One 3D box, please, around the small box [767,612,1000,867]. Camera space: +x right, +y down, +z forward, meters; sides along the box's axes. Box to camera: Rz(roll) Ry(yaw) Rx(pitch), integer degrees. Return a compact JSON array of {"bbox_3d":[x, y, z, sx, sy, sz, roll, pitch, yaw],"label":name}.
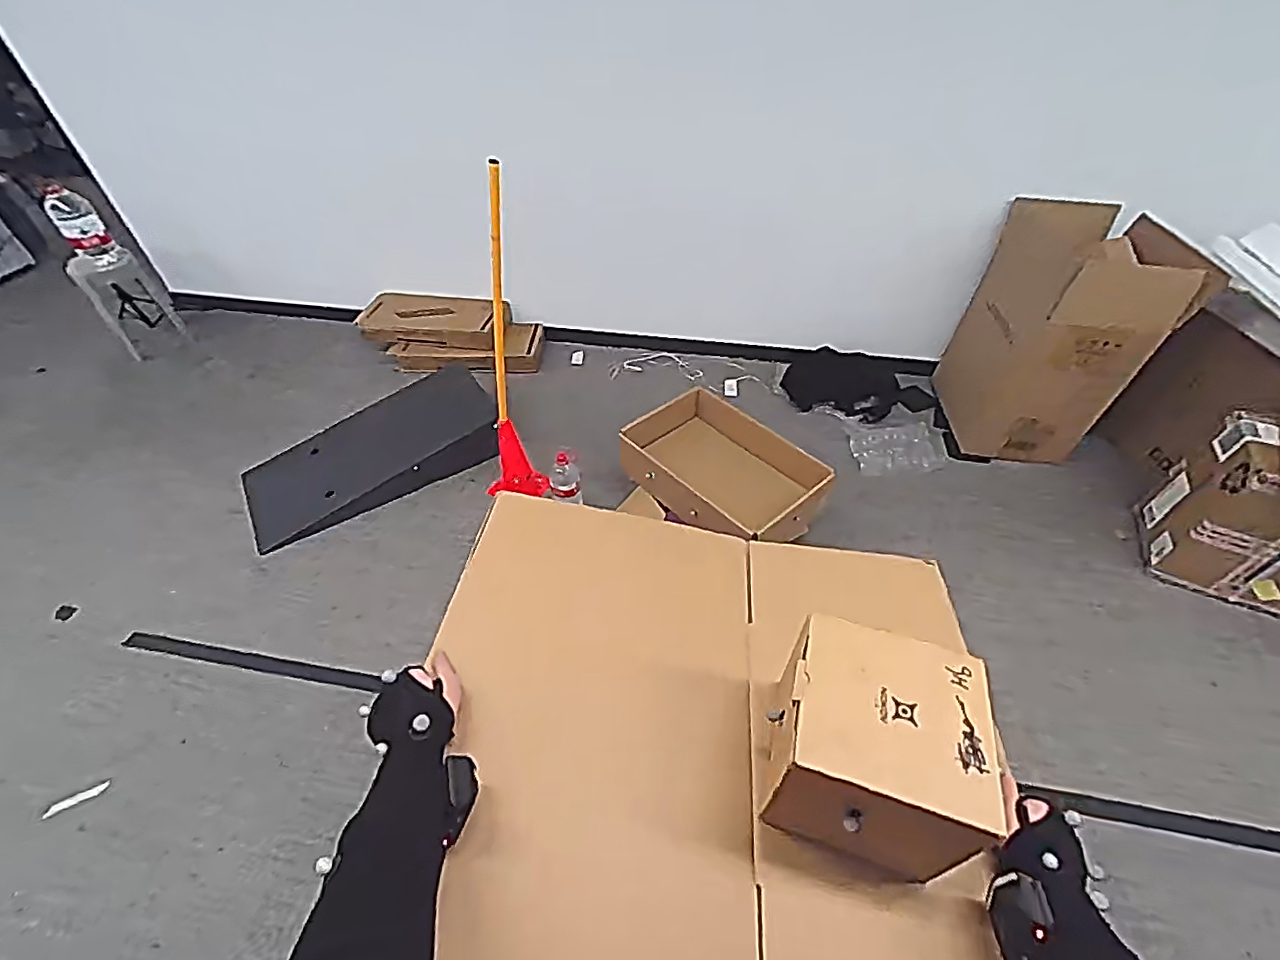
[{"bbox_3d":[0.241,0.274,0.572,0.179,0.176,0.168,13,45,14],"label":"small box"}]
